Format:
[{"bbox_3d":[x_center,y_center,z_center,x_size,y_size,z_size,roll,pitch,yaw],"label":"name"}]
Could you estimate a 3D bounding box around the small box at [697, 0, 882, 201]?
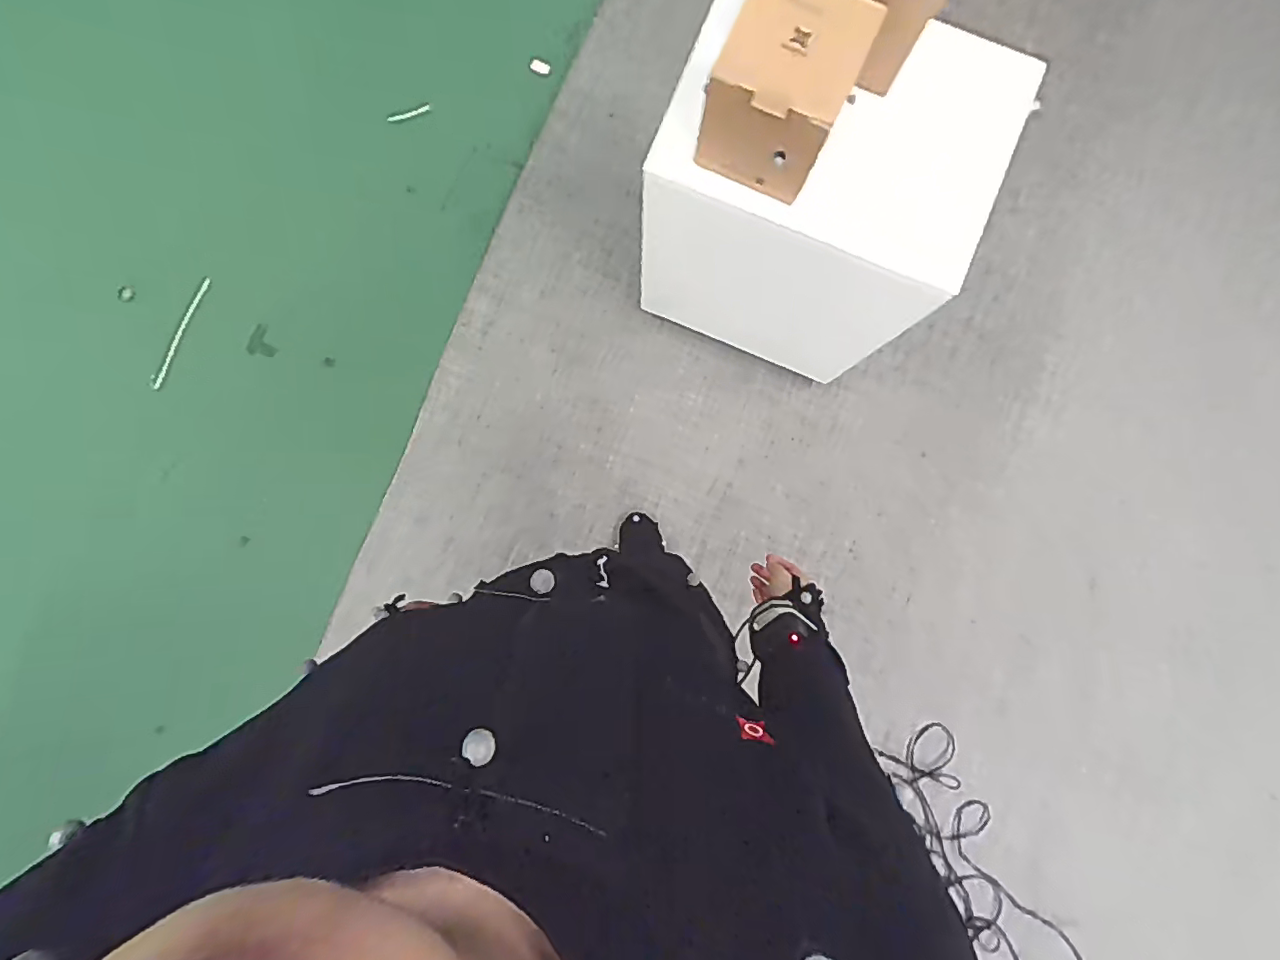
[{"bbox_3d":[0.186,-0.522,0.733,0.168,0.176,0.179,24,84,0],"label":"small box"}]
